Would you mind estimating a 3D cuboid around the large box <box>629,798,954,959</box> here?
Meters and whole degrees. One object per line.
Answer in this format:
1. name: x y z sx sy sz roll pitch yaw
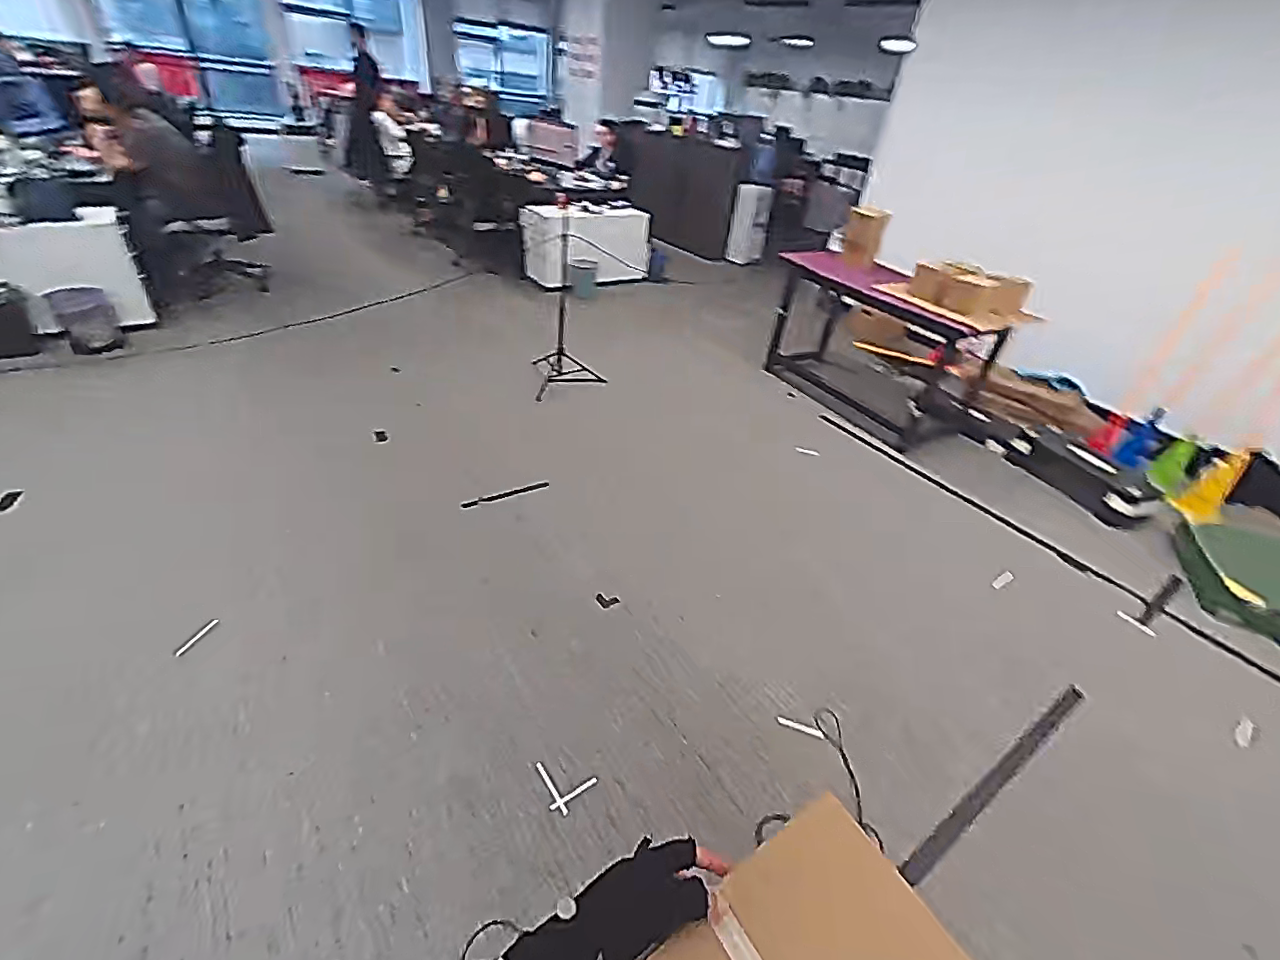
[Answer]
1. large box: 0.161 0.599 0.477 0.320 0.320 0.408 -24 49 -25
